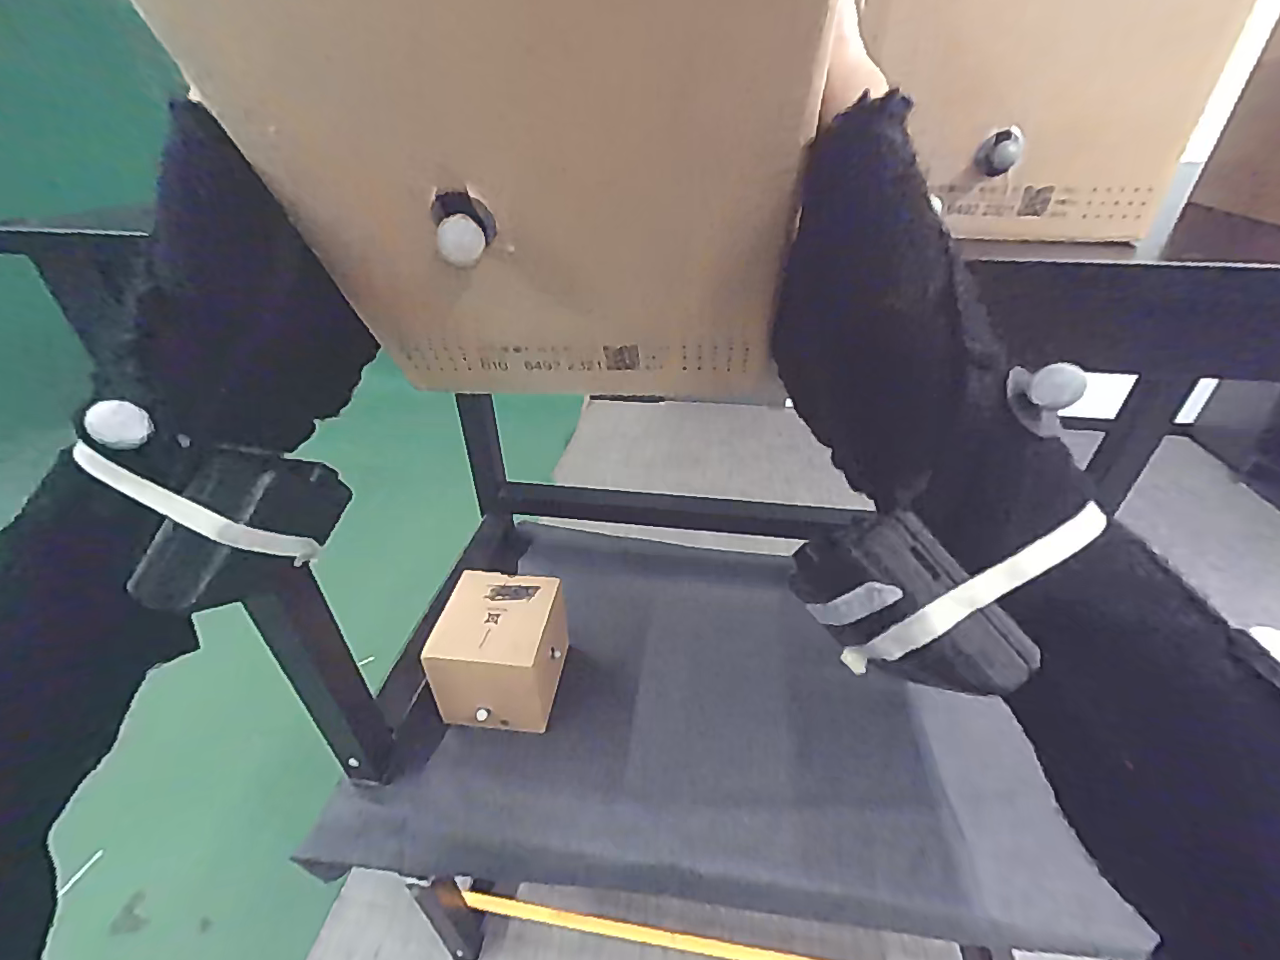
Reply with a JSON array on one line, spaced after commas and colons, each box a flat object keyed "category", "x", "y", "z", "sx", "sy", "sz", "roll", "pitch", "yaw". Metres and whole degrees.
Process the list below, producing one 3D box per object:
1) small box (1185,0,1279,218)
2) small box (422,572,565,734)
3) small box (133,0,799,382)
[{"category": "small box", "x": 0.475, "y": -0.236, "z": 0.297, "sx": 0.168, "sy": 0.176, "sz": 0.179, "roll": 10, "pitch": 35, "yaw": 15}, {"category": "small box", "x": -0.219, "y": 0.272, "z": 0.866, "sx": 0.168, "sy": 0.176, "sz": 0.179, "roll": 3, "pitch": 34, "yaw": 5}, {"category": "small box", "x": -0.030, "y": -0.156, "z": 0.223, "sx": 0.168, "sy": 0.176, "sz": 0.179, "roll": 1, "pitch": 61, "yaw": 6}]
